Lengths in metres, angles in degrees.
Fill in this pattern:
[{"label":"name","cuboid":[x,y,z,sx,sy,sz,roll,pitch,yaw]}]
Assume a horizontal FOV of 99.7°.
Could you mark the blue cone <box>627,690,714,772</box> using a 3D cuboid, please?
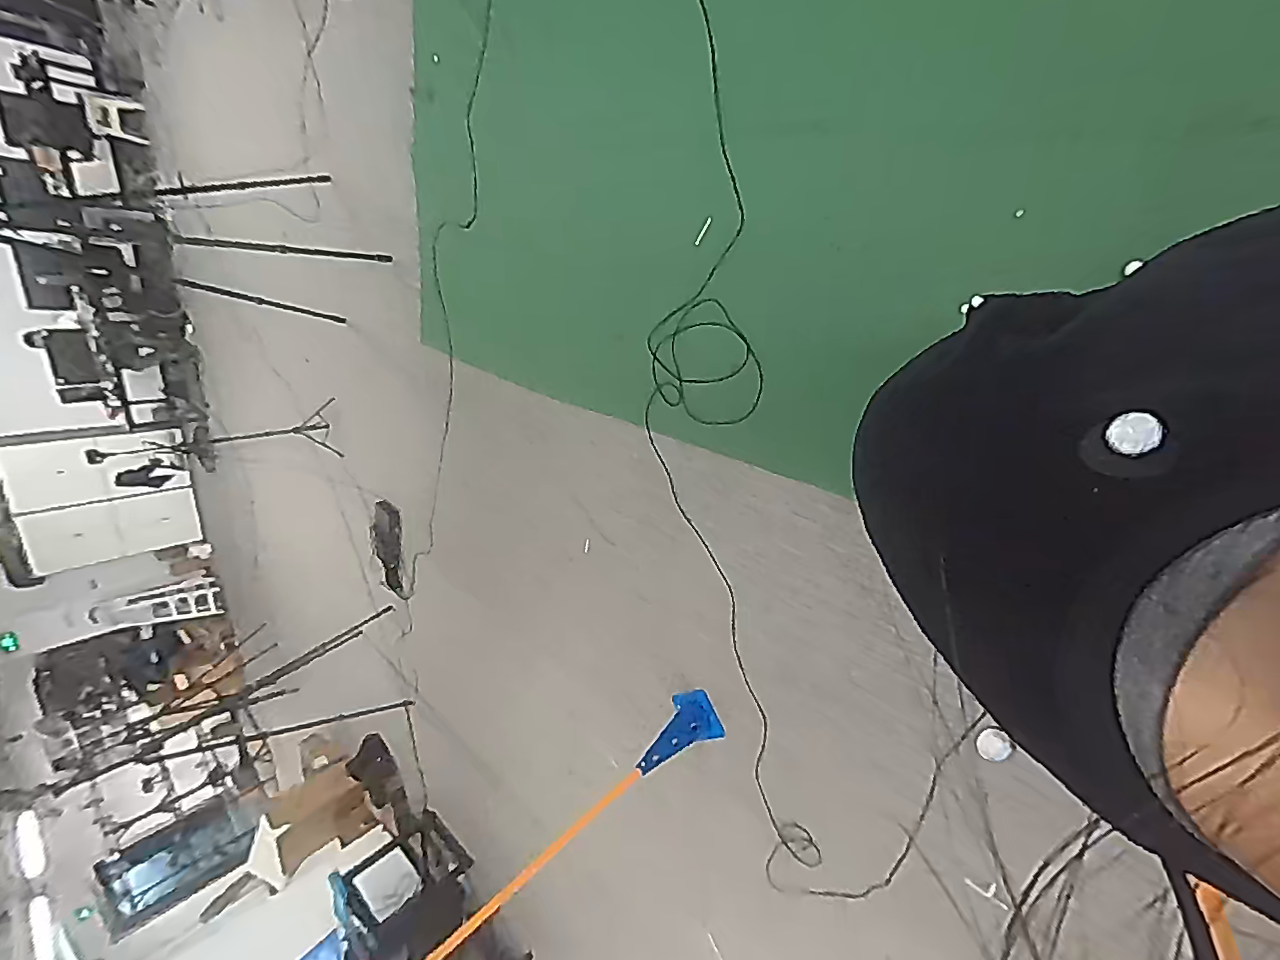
[{"label":"blue cone","cuboid":[0.092,0.975,2.033,0.193,0.380,0.192,-36,80,44]}]
